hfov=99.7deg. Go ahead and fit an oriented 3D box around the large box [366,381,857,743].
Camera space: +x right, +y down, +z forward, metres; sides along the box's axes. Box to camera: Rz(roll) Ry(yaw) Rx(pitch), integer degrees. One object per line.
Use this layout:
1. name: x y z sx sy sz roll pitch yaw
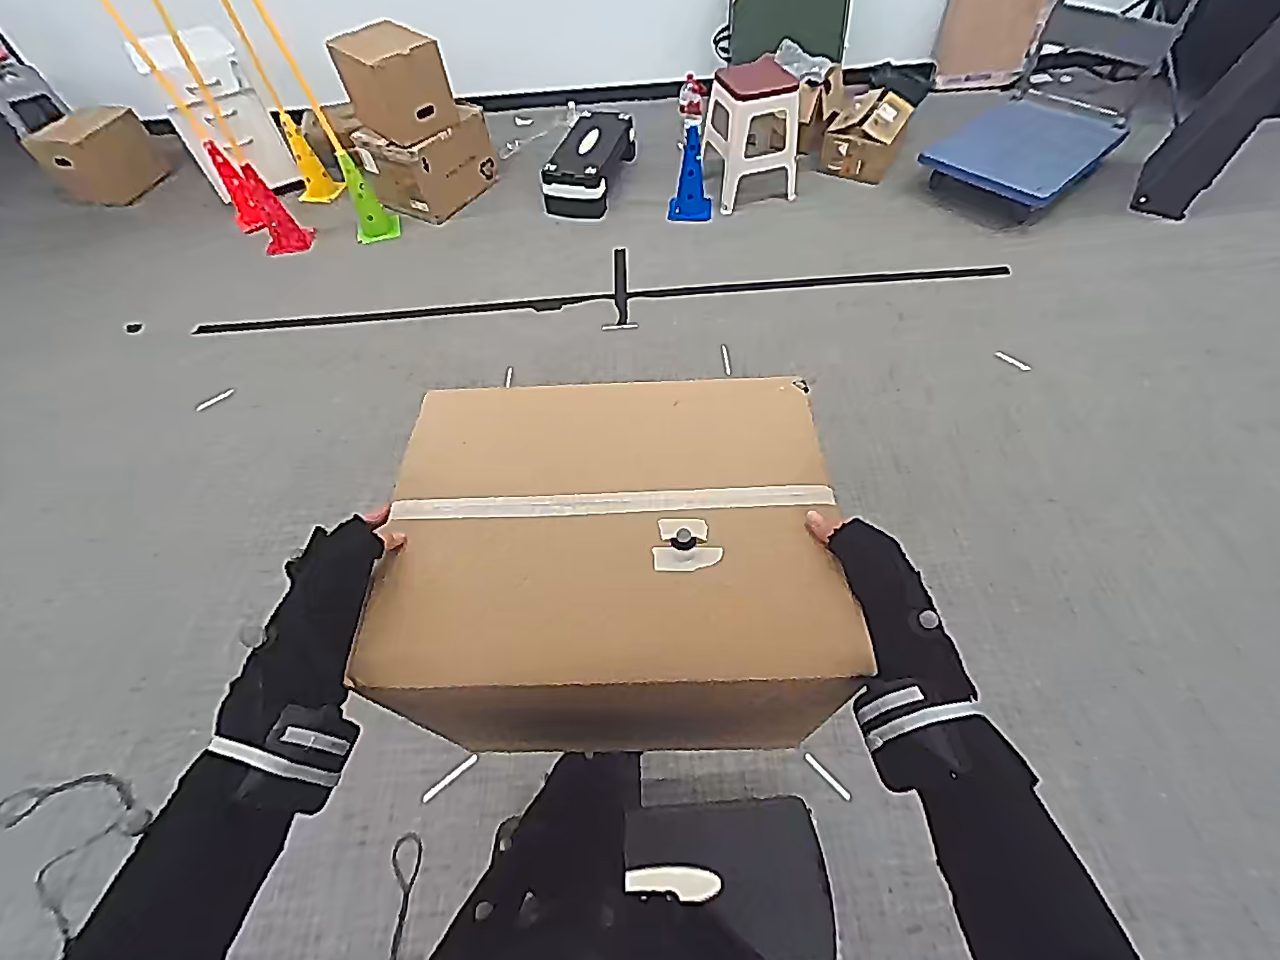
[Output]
1. large box: -0.022 0.108 0.635 0.408 0.320 0.320 -2 55 2
